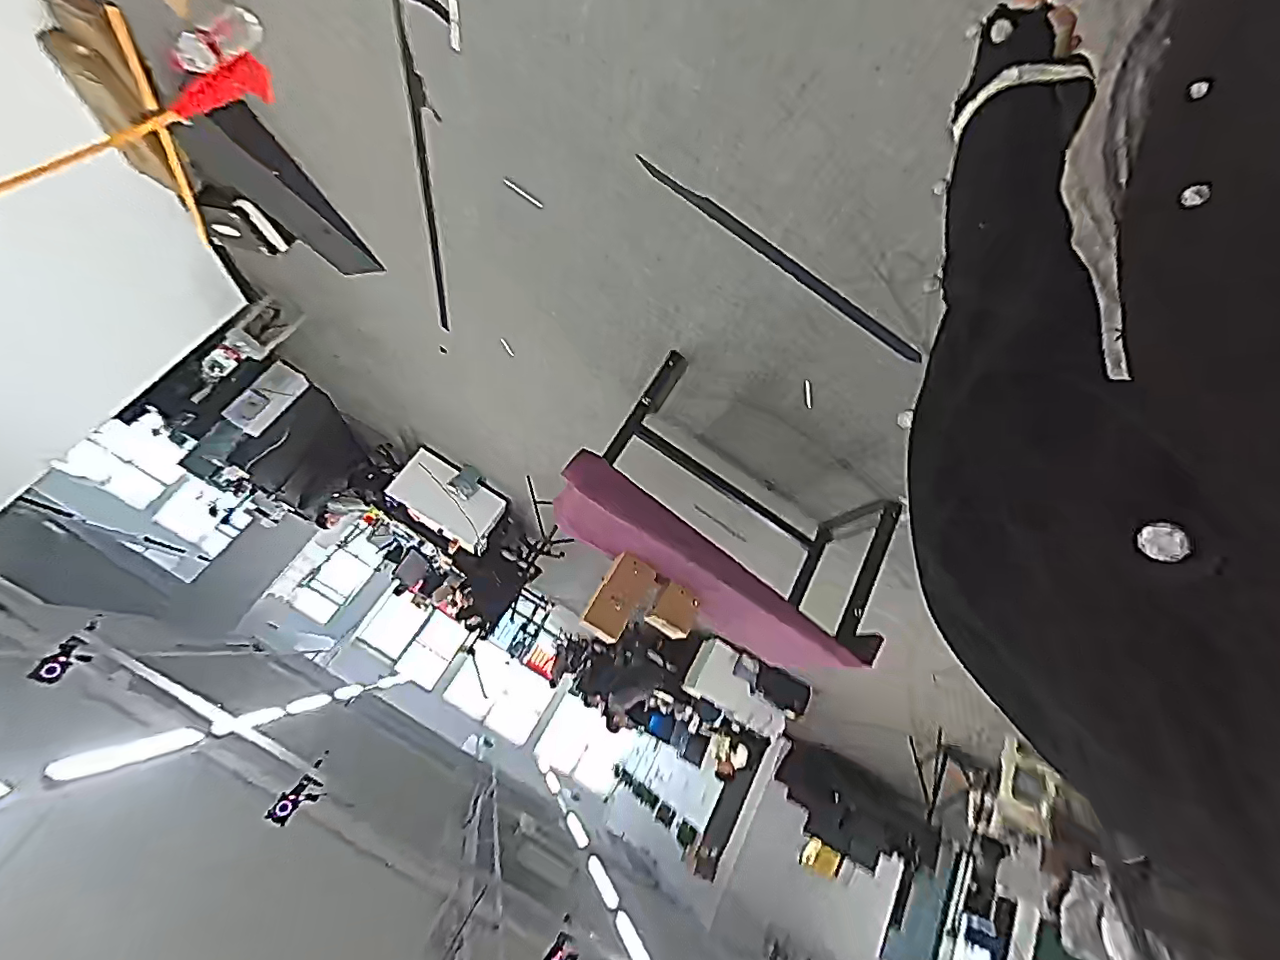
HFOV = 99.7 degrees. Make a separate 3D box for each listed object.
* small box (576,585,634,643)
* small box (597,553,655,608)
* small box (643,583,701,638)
[{"bbox_3d":[-0.143,0.554,2.237,0.168,0.176,0.179,32,156,-2],"label":"small box"},{"bbox_3d":[-0.058,0.430,2.297,0.168,0.176,0.179,33,156,-4],"label":"small box"},{"bbox_3d":[0.139,0.552,2.294,0.168,0.176,0.179,34,157,-4],"label":"small box"}]
